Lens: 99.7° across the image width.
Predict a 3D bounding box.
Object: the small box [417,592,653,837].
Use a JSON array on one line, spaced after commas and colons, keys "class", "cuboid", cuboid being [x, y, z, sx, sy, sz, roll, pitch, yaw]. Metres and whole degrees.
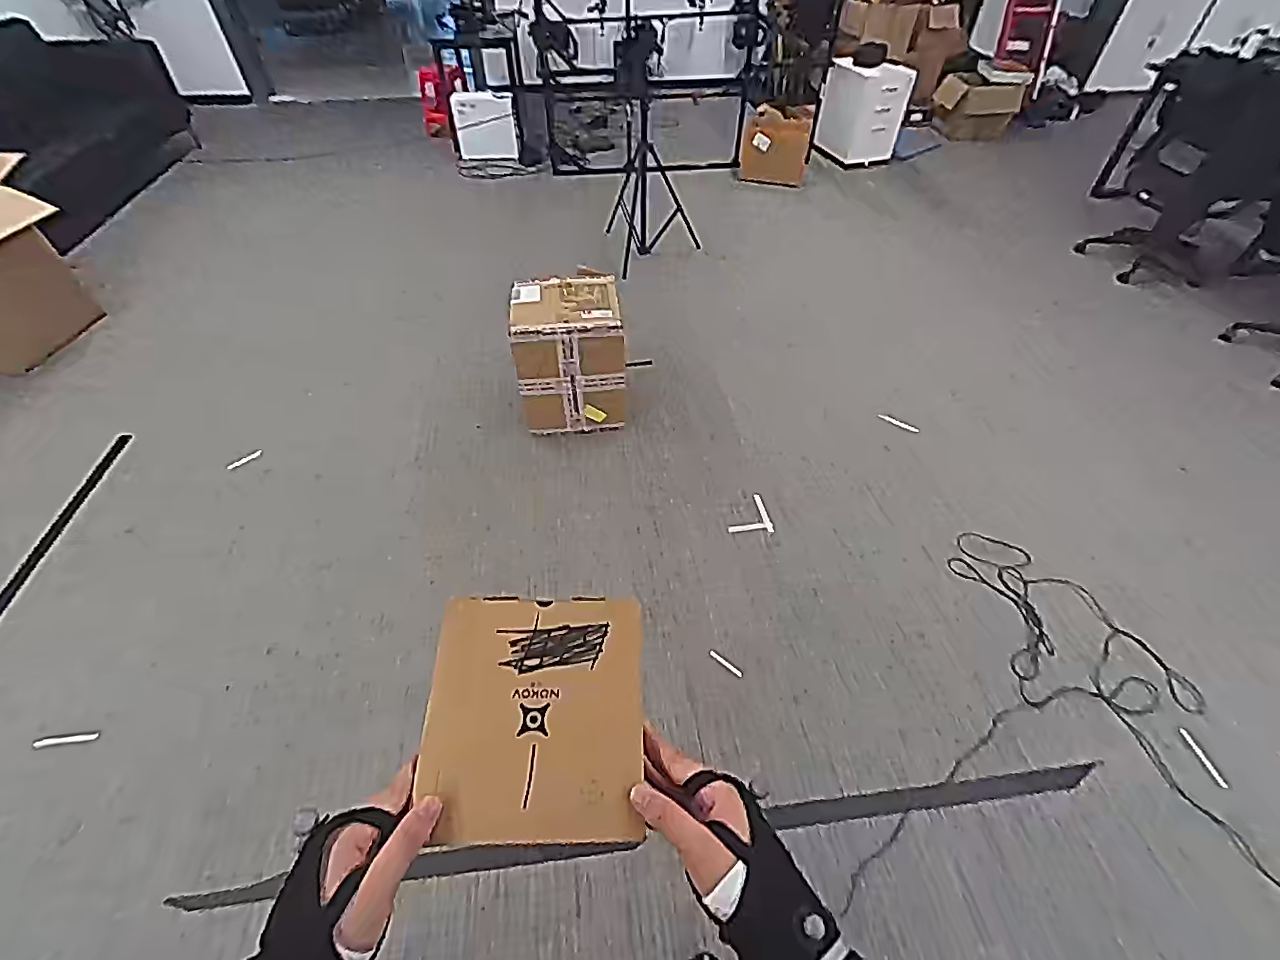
[{"class": "small box", "cuboid": [-0.077, 0.213, 0.484, 0.168, 0.176, 0.179, 1, 59, -3]}]
